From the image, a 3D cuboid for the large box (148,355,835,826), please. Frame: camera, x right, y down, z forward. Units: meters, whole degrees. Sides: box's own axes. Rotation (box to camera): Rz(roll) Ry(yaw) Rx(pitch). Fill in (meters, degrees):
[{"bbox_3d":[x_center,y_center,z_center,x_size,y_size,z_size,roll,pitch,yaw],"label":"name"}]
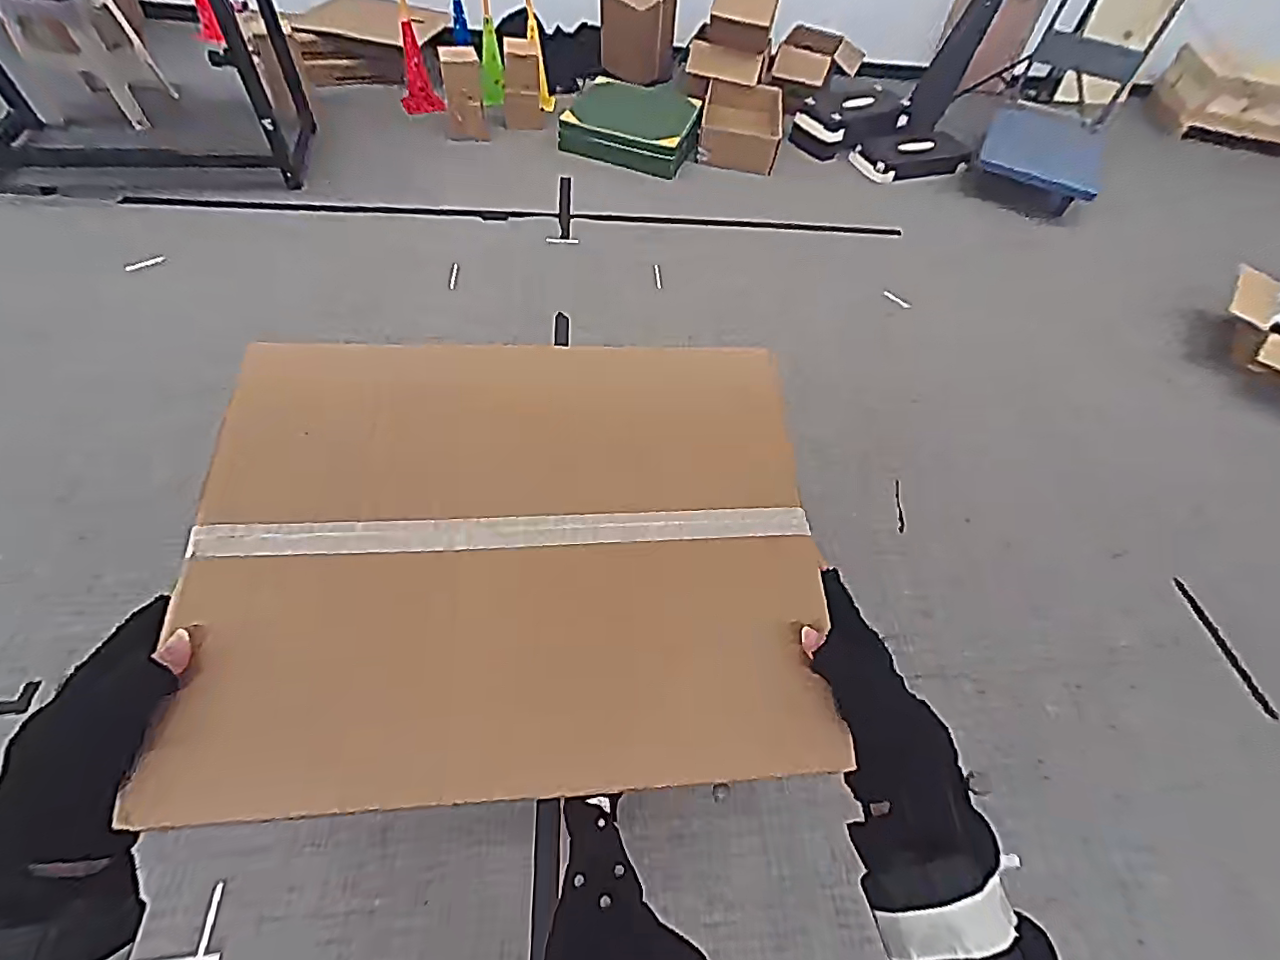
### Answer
[{"bbox_3d":[-0.095,0.101,0.510,0.408,0.320,0.320,-1,65,-6],"label":"large box"}]
